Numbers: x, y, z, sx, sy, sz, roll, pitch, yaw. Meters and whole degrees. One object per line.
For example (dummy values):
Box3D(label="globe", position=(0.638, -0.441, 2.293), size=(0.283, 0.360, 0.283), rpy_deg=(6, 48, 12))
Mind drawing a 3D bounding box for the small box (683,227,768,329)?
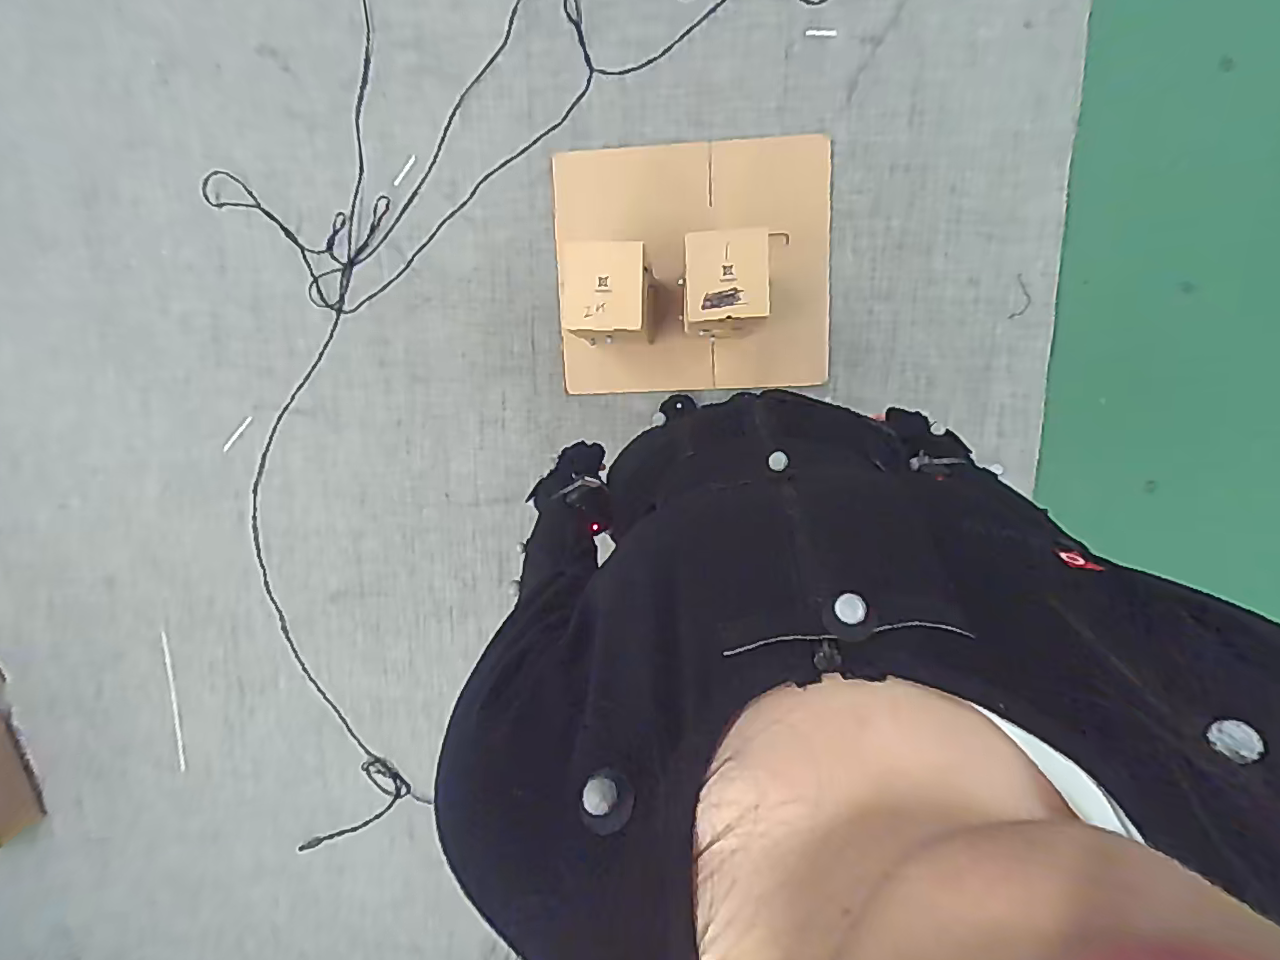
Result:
Box3D(label="small box", position=(0.179, -0.421, 1.156), size=(0.168, 0.176, 0.179), rpy_deg=(-3, 98, 4))

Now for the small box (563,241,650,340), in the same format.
Box3D(label="small box", position=(-0.068, -0.404, 1.176), size=(0.168, 0.176, 0.179), rpy_deg=(2, 99, 5))

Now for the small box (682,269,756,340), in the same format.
Box3D(label="small box", position=(0.189, -0.444, 1.319), size=(0.168, 0.176, 0.179), rpy_deg=(-2, 99, 4))
